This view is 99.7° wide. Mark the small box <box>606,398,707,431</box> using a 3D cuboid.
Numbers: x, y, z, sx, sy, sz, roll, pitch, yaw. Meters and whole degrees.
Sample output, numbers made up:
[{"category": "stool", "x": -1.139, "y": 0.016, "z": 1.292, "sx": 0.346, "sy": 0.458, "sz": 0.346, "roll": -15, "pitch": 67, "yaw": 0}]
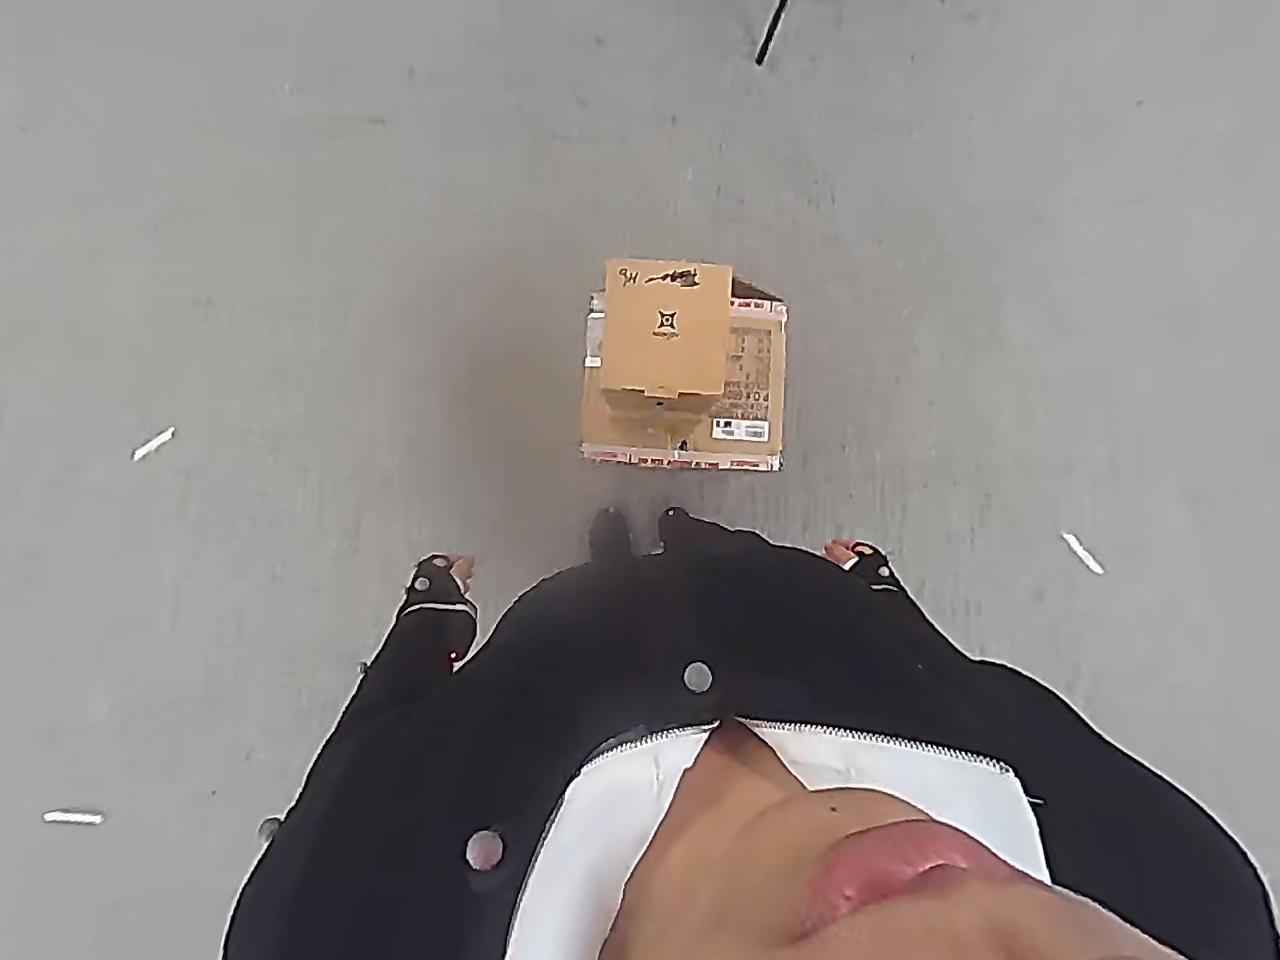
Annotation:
[{"category": "small box", "x": 0.029, "y": -0.183, "z": 0.945, "sx": 0.168, "sy": 0.176, "sz": 0.179, "roll": 2, "pitch": 91, "yaw": 0}]

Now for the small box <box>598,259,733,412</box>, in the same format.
[{"category": "small box", "x": 0.034, "y": -0.196, "z": 0.781, "sx": 0.168, "sy": 0.176, "sz": 0.179, "roll": 4, "pitch": 91, "yaw": 0}]
